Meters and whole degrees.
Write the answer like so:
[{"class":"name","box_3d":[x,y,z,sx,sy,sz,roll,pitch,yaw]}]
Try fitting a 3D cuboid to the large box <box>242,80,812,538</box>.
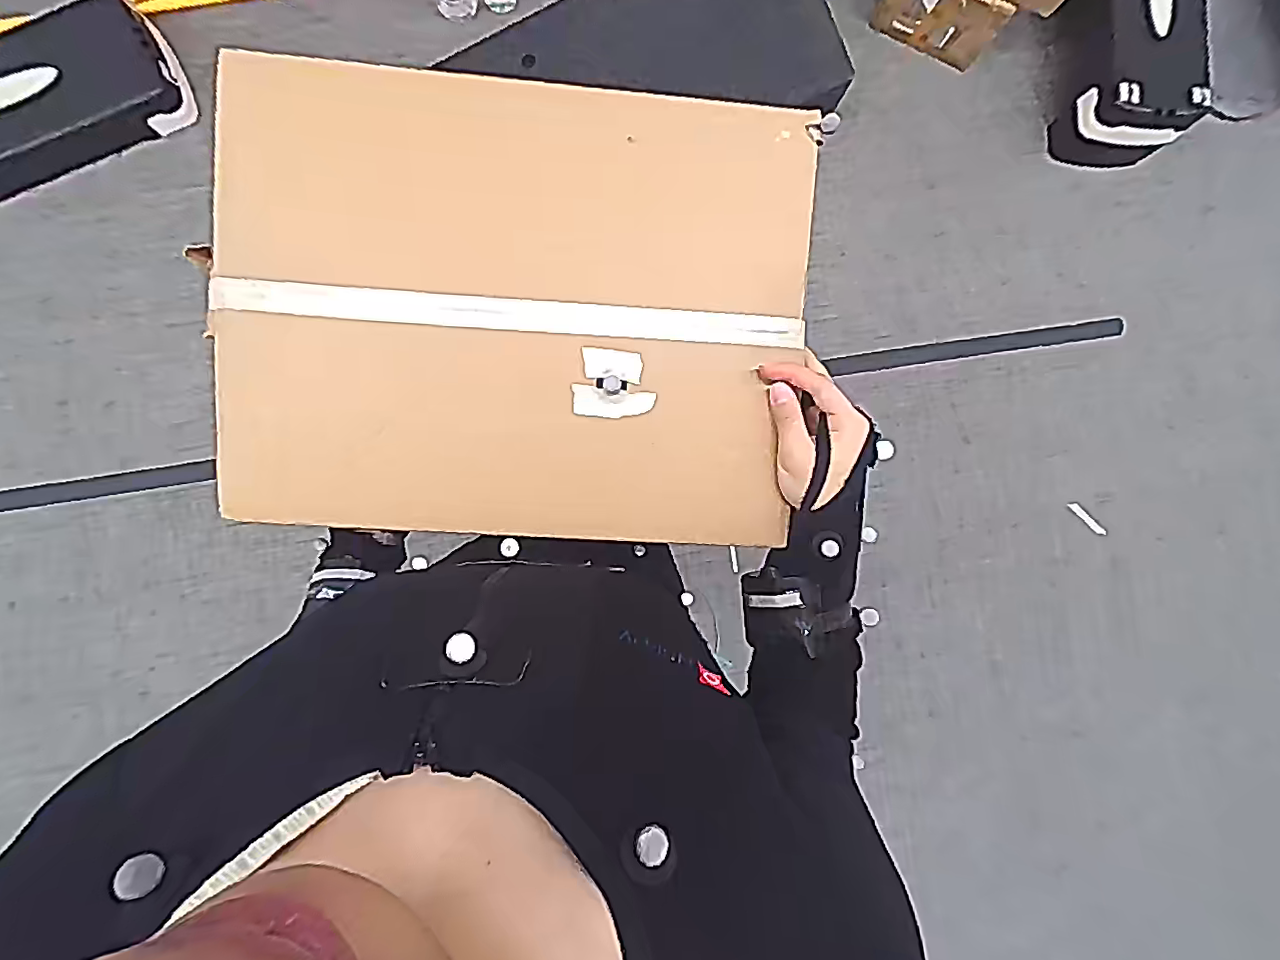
[{"class":"large box","box_3d":[-0.090,-0.123,0.538,0.408,0.320,0.320,3,95,-5]}]
